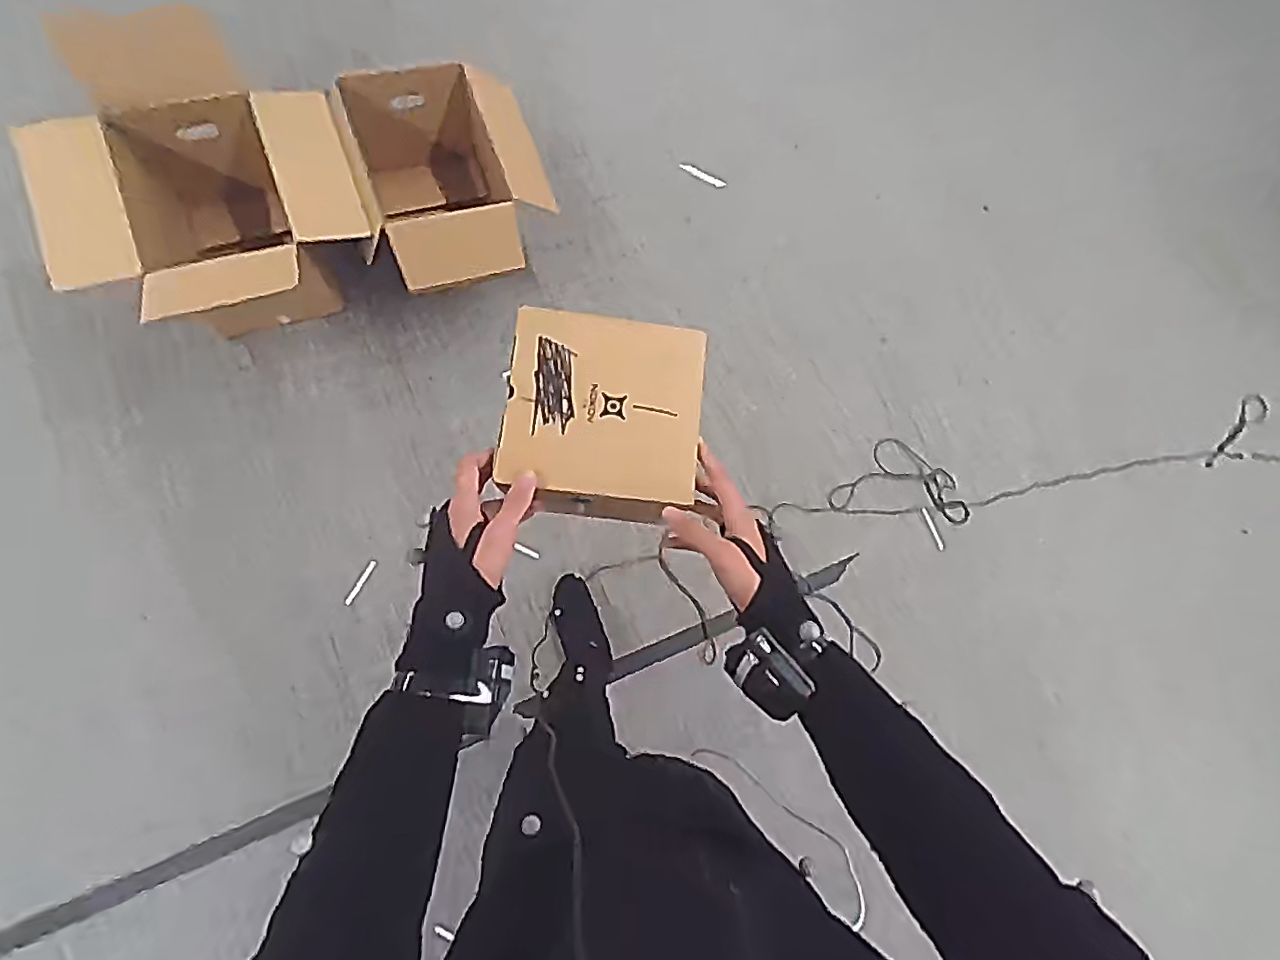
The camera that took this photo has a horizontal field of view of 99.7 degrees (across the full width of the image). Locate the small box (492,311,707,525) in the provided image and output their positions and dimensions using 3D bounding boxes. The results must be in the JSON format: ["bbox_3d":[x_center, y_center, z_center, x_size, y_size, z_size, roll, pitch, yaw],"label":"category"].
[{"bbox_3d":[-0.040,-0.049,0.555,0.179,0.176,0.168,7,79,-5],"label":"small box"}]
